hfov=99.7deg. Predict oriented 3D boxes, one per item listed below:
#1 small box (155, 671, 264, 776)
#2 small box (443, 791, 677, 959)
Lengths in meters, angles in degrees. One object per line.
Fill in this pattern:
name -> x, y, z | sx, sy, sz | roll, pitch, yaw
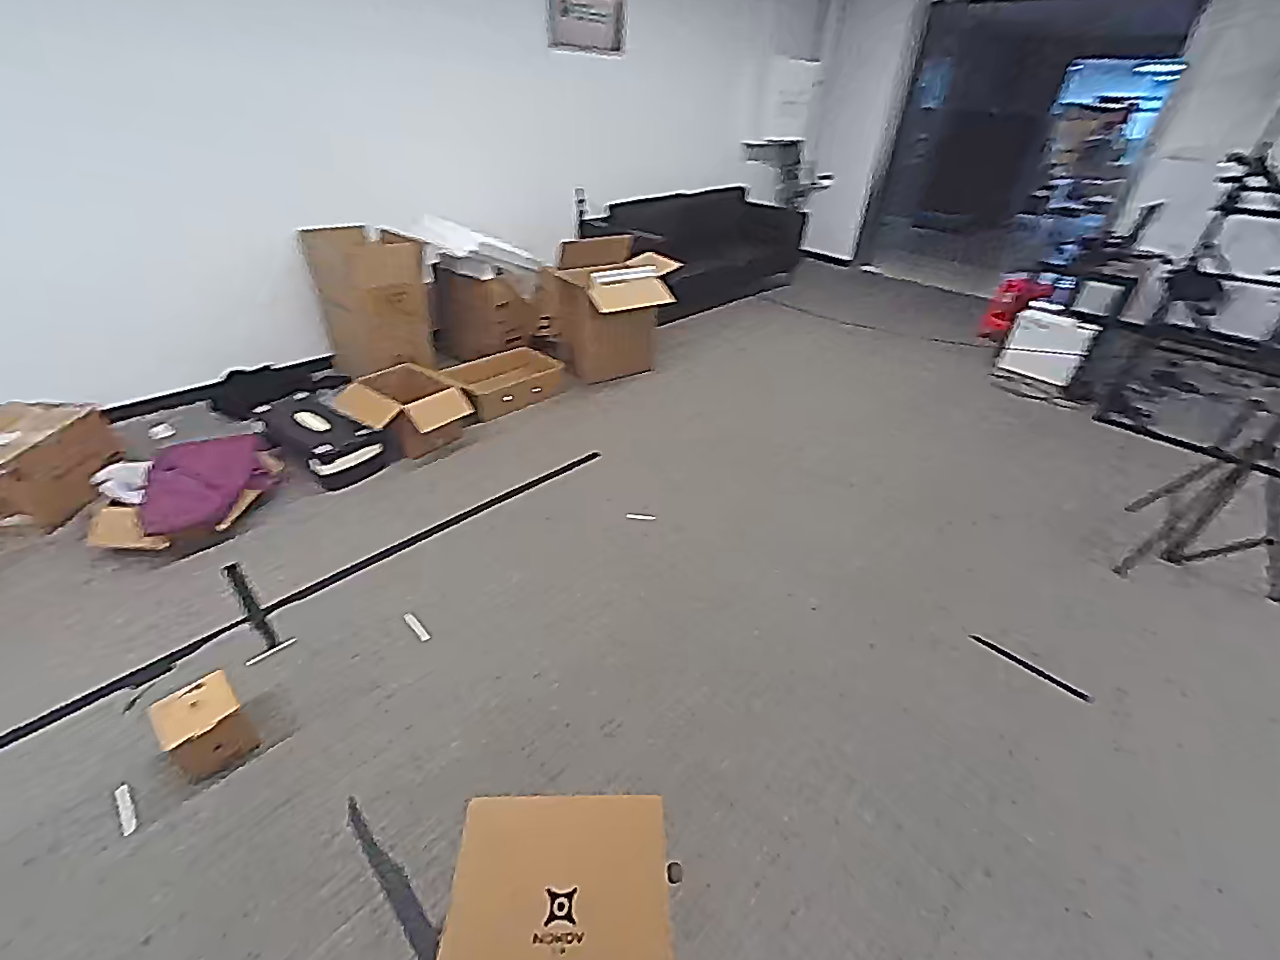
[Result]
small box -> -1.169, 0.670, 1.478 | 0.179, 0.176, 0.168 | 31, 44, 32
small box -> -0.061, 0.386, 0.443 | 0.168, 0.176, 0.179 | 0, 36, -3
